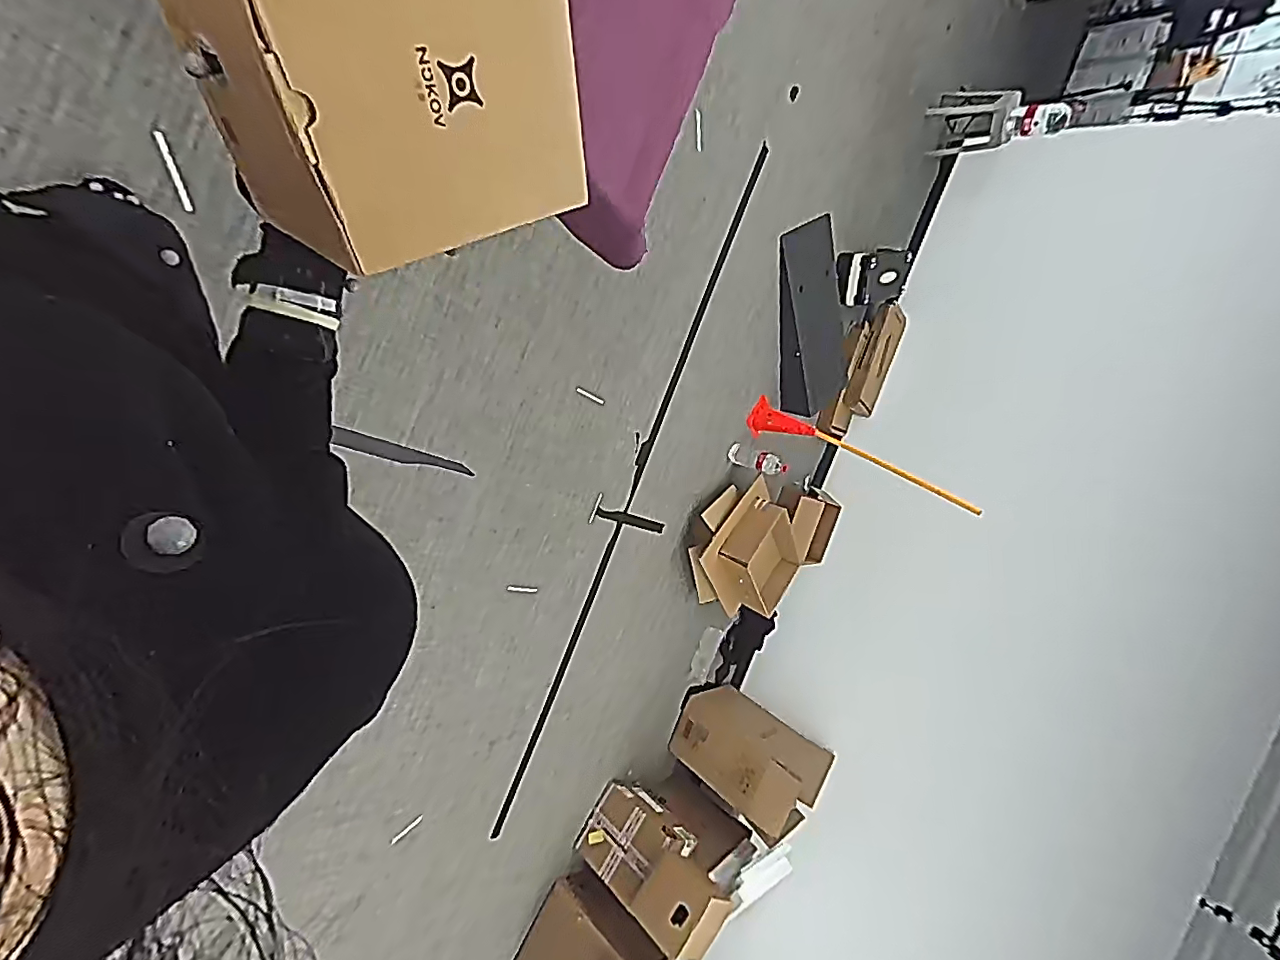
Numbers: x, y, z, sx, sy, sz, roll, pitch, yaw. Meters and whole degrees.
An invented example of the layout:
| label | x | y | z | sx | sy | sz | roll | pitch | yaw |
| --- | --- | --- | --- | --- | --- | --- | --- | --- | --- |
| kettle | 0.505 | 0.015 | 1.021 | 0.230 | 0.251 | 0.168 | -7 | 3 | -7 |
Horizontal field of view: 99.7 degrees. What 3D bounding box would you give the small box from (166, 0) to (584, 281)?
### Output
| label | x | y | z | sx | sy | sz | roll | pitch | yaw |
| --- | --- | --- | --- | --- | --- | --- | --- | --- | --- |
| small box | -0.161 | -0.258 | 0.352 | 0.179 | 0.176 | 0.168 | -36 | 143 | -29 |
